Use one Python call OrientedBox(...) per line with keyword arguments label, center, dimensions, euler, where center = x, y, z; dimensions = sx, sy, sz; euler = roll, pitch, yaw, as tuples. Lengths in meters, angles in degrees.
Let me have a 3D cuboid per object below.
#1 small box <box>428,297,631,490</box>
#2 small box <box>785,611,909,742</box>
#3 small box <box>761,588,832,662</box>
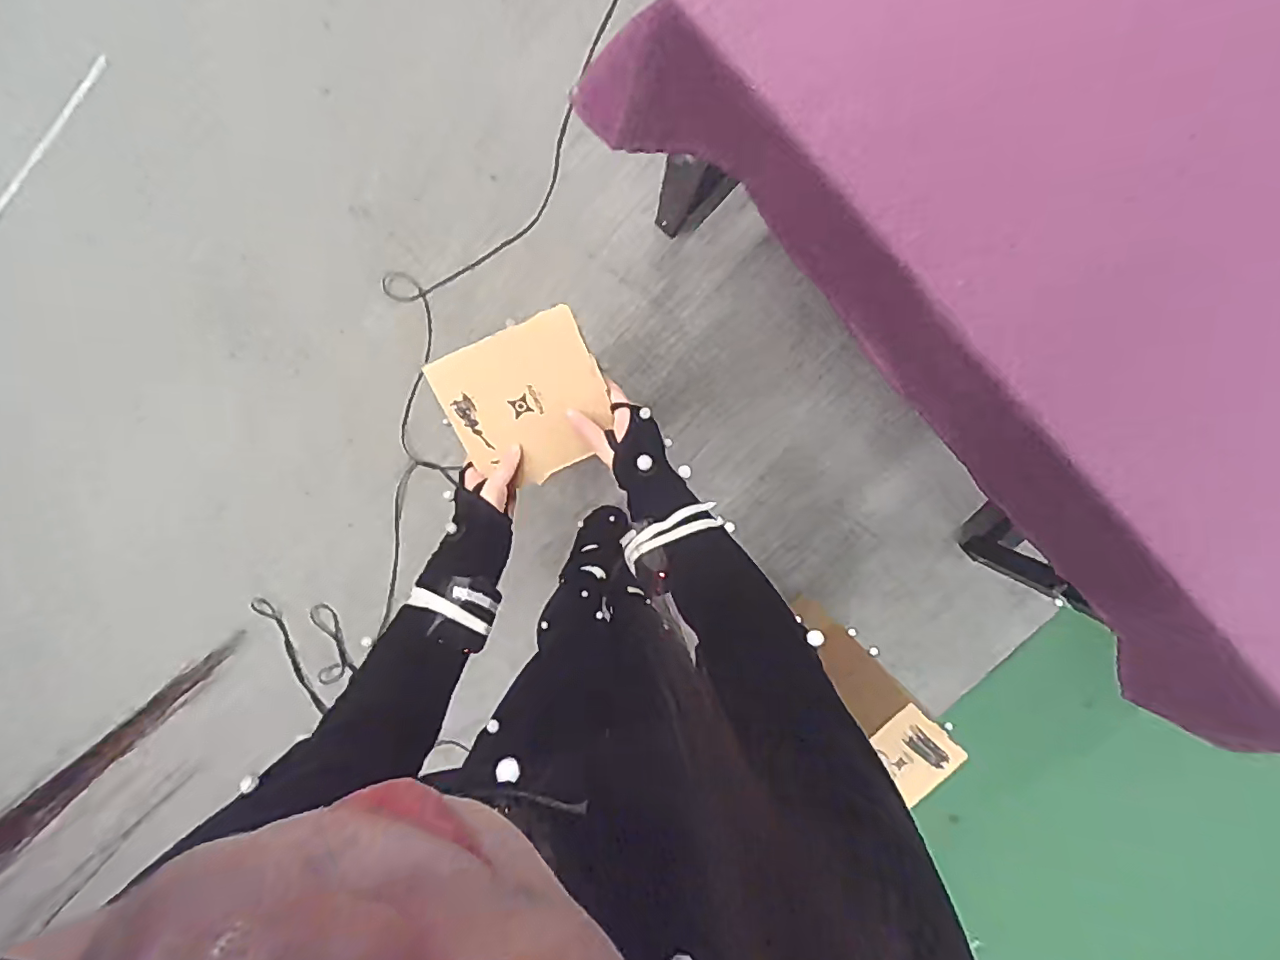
OrientedBox(label="small box", center=(-0.129, -0.113, 0.672), dimensions=(0.179, 0.176, 0.168), euler=(-24, 106, 0))
OrientedBox(label="small box", center=(0.450, 0.433, 1.214), dimensions=(0.168, 0.176, 0.179), euler=(44, 95, -11))
OrientedBox(label="small box", center=(0.435, 0.398, 1.372), dimensions=(0.179, 0.176, 0.168), euler=(42, 96, -9))
